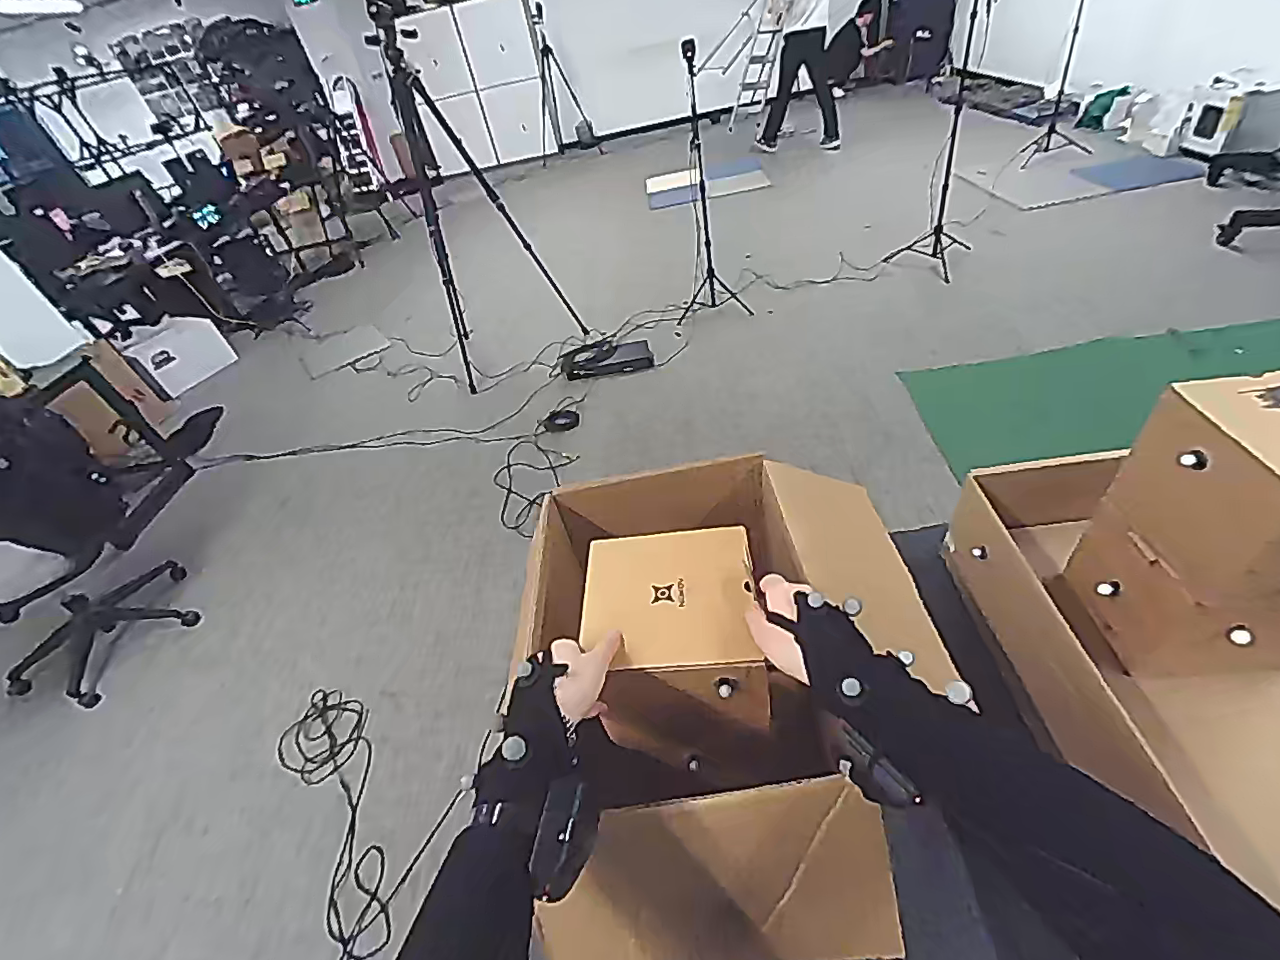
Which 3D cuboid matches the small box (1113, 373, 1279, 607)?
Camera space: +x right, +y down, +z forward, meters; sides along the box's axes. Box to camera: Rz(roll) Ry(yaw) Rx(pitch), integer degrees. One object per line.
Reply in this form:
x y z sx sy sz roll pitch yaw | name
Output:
0.654 0.008 0.561 0.168 0.176 0.179 -8 43 8 | small box
